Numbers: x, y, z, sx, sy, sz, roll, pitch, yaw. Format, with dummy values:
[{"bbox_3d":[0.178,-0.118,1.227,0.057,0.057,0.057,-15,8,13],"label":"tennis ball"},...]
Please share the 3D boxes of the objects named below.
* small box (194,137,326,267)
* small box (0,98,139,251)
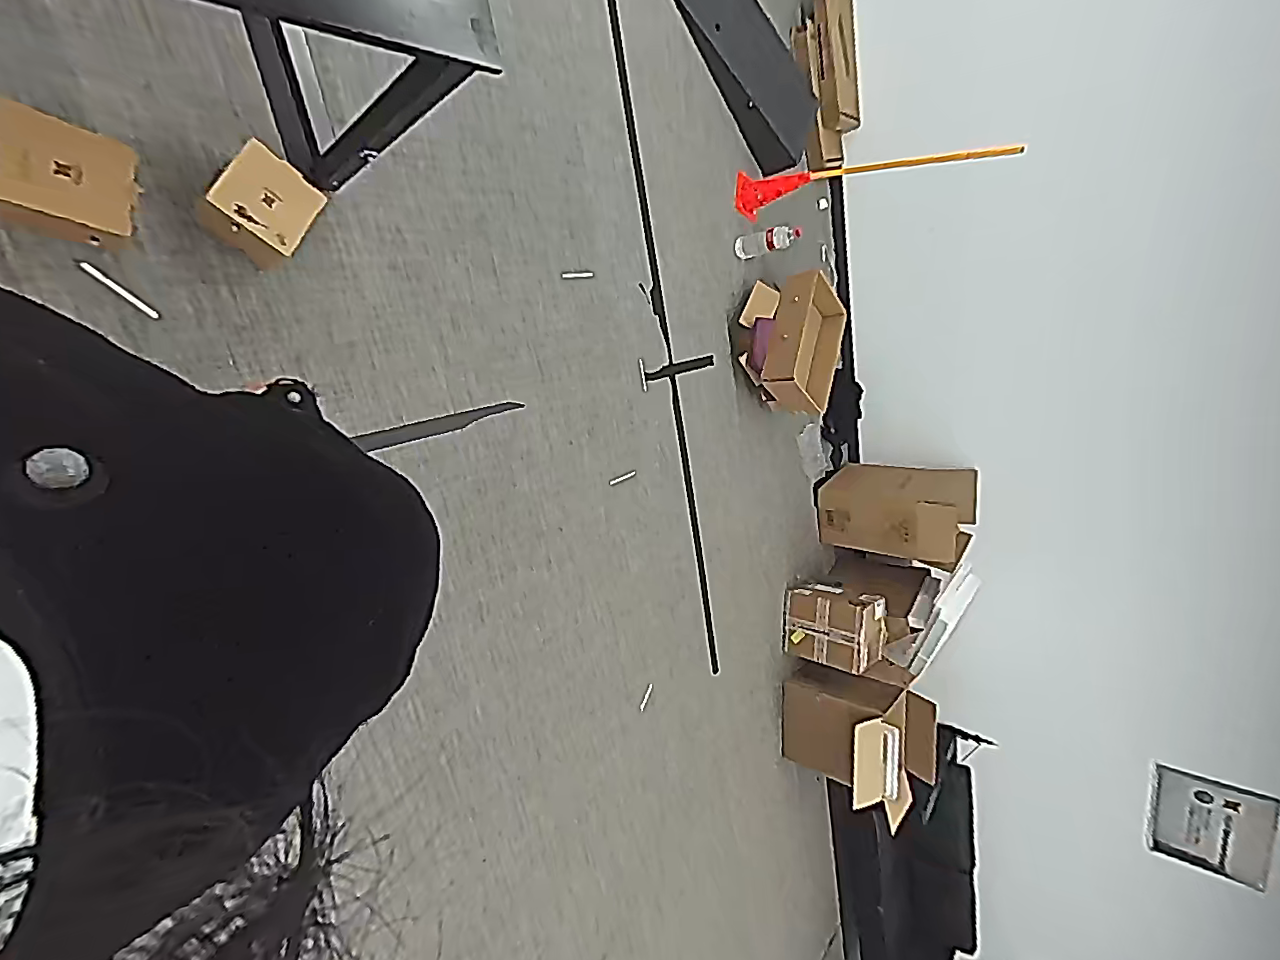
[{"bbox_3d":[-0.845,-0.606,1.199,0.168,0.176,0.179,37,67,-43],"label":"small box"},{"bbox_3d":[-1.048,-0.536,0.985,0.179,0.176,0.168,5,89,-47],"label":"small box"}]
